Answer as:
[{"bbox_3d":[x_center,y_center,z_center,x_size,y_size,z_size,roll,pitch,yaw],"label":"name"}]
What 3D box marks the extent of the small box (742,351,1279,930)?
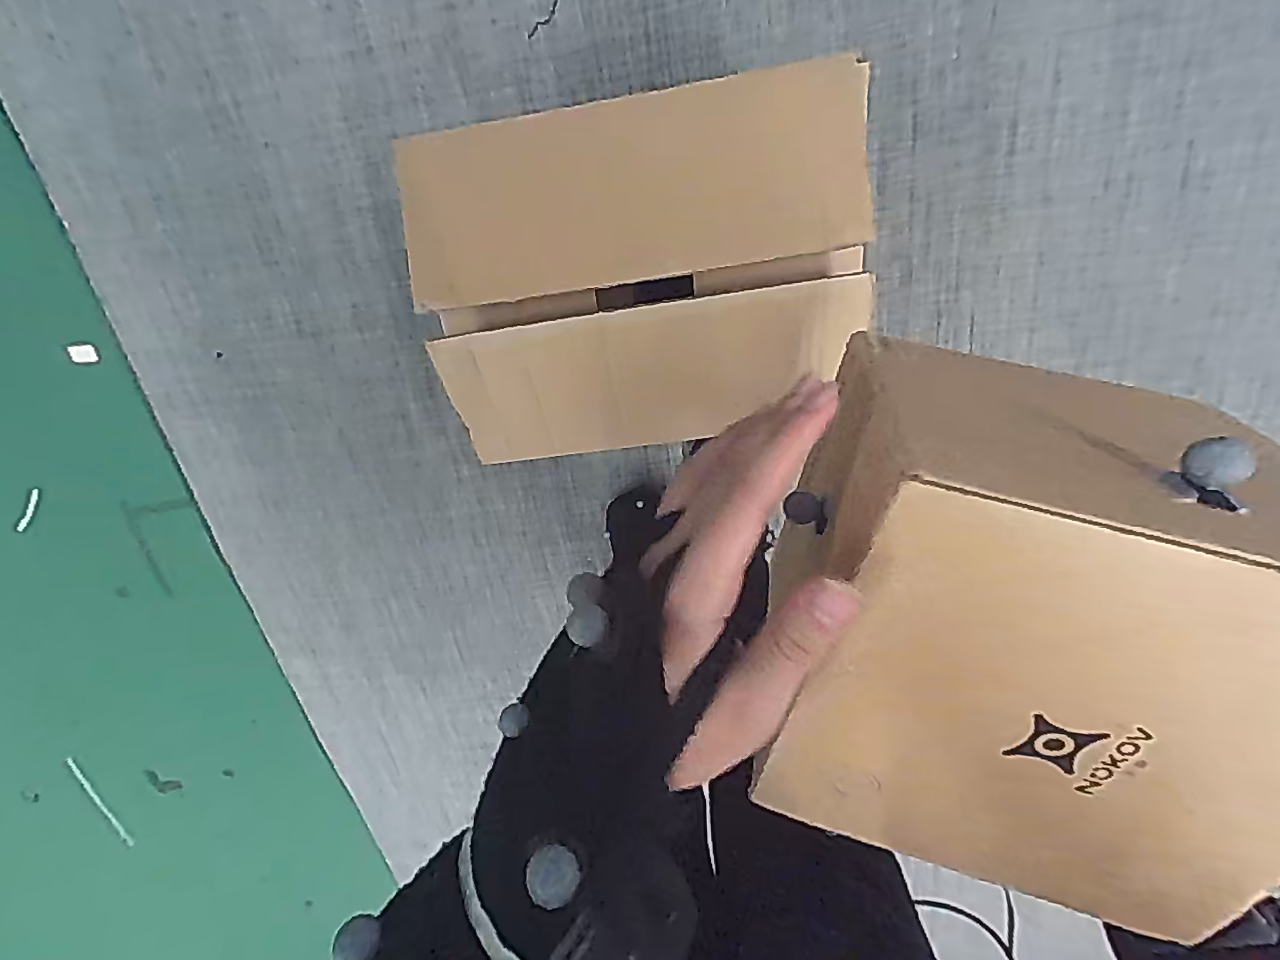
[{"bbox_3d":[0.158,0.049,0.253,0.179,0.176,0.168,14,120,7],"label":"small box"}]
